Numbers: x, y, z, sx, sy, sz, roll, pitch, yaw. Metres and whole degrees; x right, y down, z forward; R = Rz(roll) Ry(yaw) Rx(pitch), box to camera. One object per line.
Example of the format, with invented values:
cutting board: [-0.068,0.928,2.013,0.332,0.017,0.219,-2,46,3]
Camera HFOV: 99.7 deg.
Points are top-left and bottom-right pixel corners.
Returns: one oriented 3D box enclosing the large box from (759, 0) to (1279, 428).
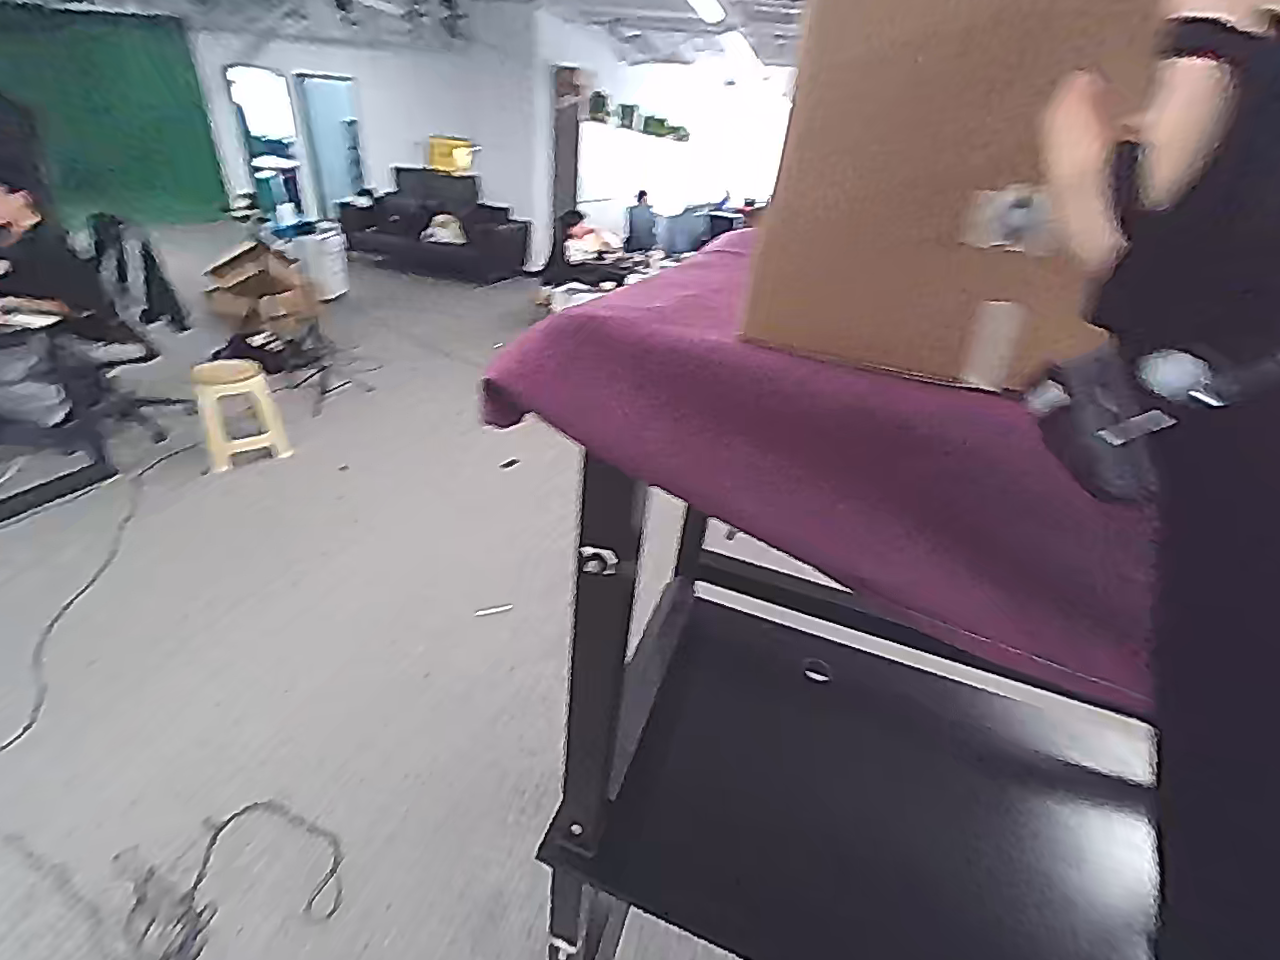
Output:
large box: [0.289,-0.273,0.419,0.320,0.320,0.408,15,31,12]
